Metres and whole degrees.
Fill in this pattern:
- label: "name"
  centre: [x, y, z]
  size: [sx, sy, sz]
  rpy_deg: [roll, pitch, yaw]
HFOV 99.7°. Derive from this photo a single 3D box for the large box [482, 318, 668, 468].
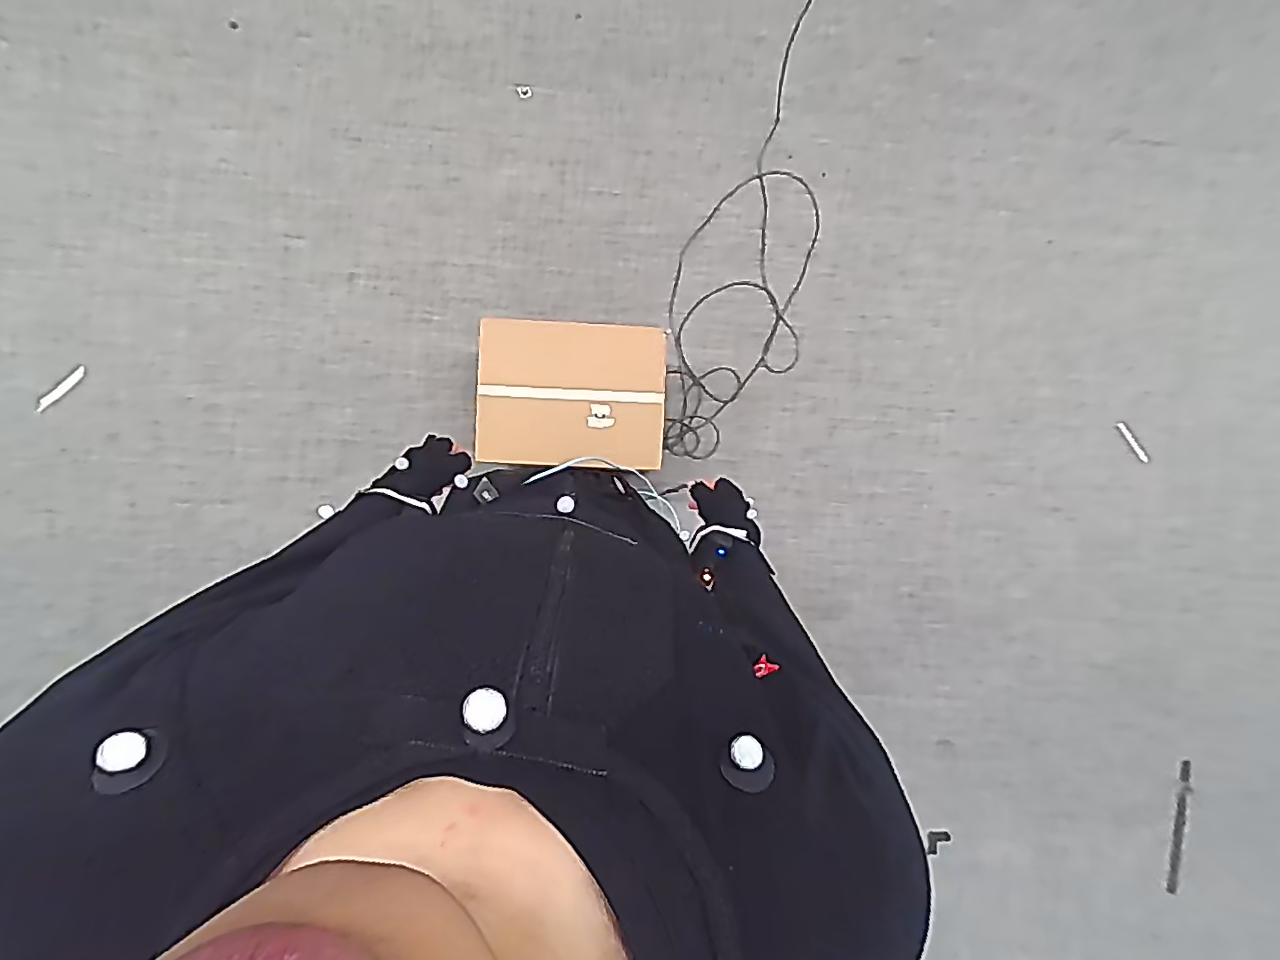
- label: "large box"
  centre: [-0.150, -0.193, 1.331]
  size: [0.408, 0.320, 0.320]
  rpy_deg: [3, 91, -3]
